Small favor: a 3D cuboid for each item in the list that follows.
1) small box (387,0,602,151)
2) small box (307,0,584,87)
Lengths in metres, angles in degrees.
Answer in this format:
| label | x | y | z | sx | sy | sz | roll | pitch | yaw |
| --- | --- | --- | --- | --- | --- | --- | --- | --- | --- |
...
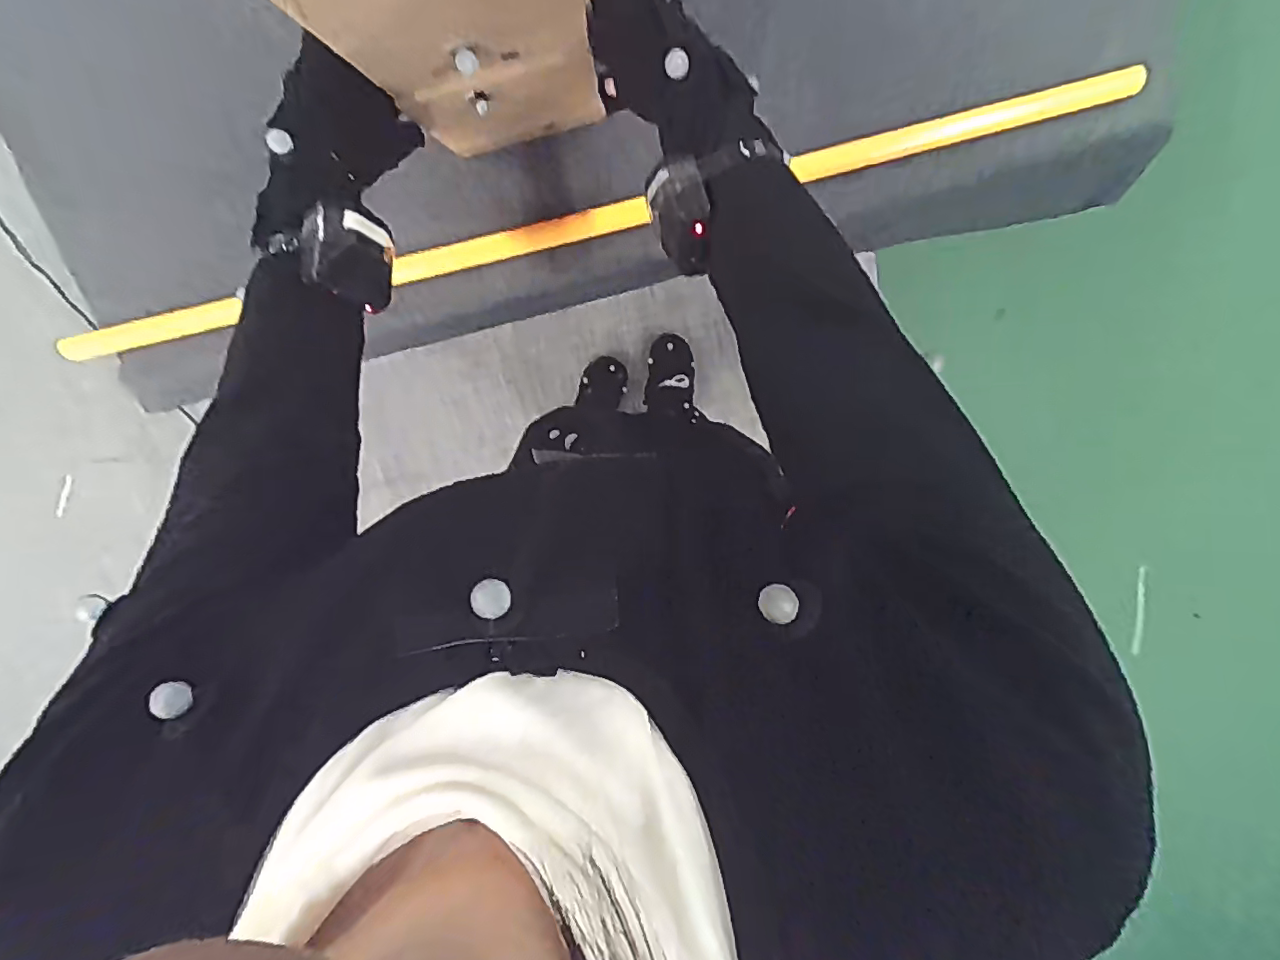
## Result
| label | x | y | z | sx | sy | sz | roll | pitch | yaw |
| --- | --- | --- | --- | --- | --- | --- | --- | --- | --- |
| small box | -0.135 | -0.425 | 0.479 | 0.168 | 0.176 | 0.179 | -12 | 109 | 5 |
| small box | -0.135 | -0.376 | 0.320 | 0.168 | 0.176 | 0.179 | -10 | 109 | 4 |
